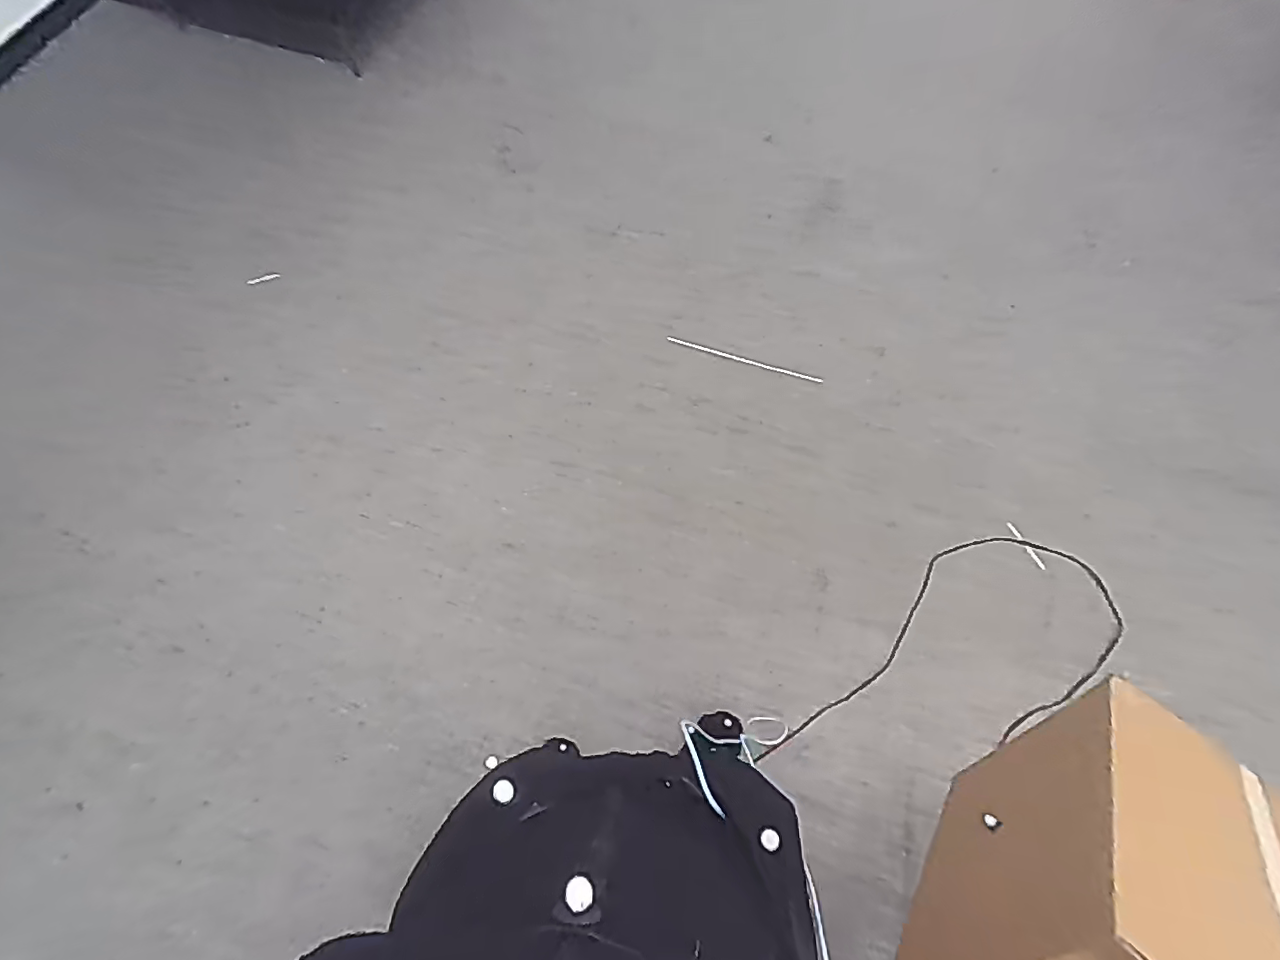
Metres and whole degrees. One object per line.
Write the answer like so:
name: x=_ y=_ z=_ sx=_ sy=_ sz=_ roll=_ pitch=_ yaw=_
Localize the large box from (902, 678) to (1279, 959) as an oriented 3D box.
large box: x=0.553 y=0.520 z=0.608 sx=0.320 sy=0.320 sz=0.408 roll=42 pitch=38 yaw=22
